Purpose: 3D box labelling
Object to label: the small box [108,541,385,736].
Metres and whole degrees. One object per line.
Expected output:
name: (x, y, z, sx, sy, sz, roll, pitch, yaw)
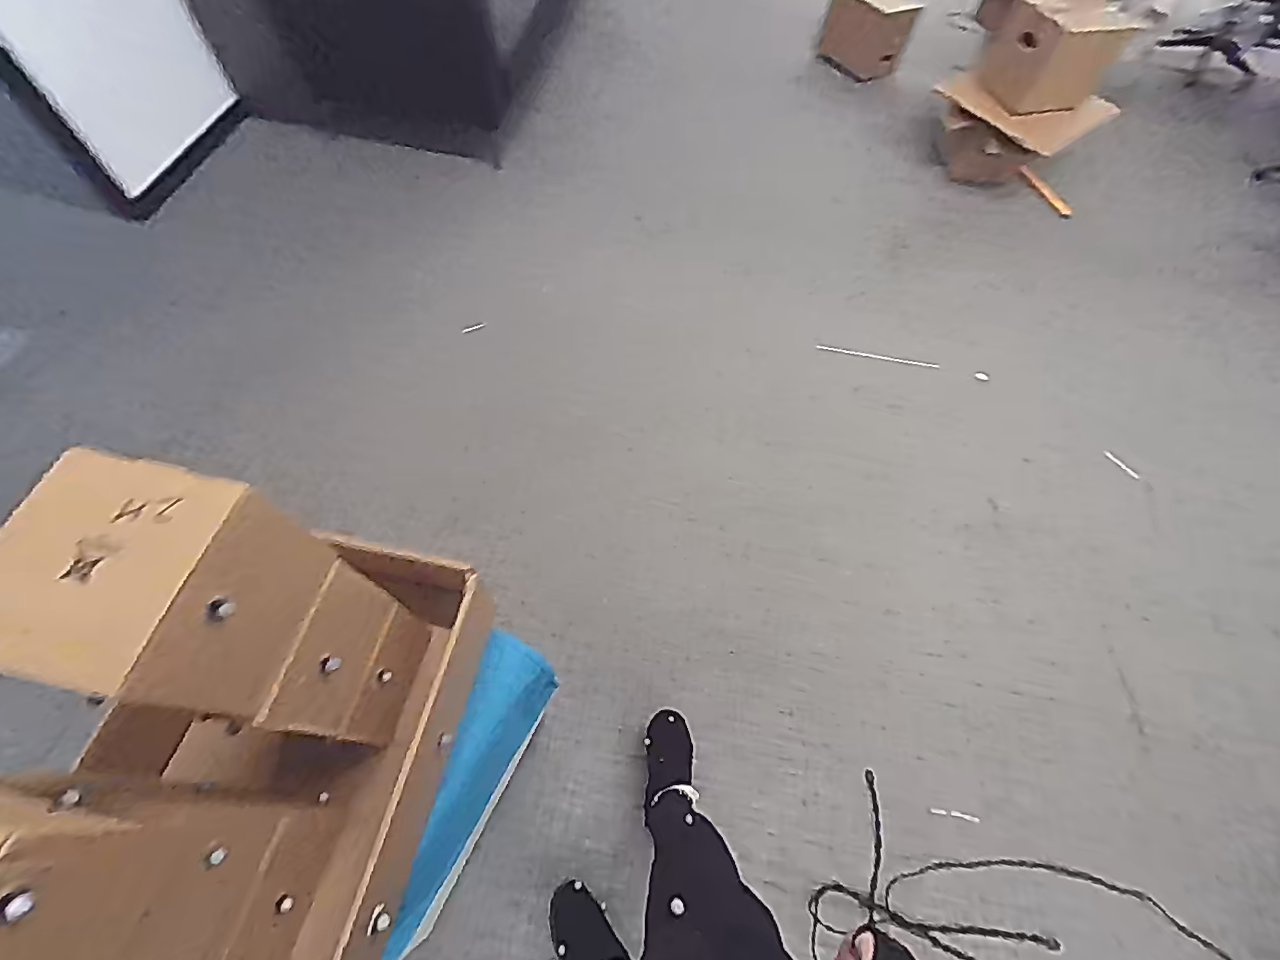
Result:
small box: (-0.431, 0.193, 0.634, 0.168, 0.176, 0.179, 10, 63, 3)
